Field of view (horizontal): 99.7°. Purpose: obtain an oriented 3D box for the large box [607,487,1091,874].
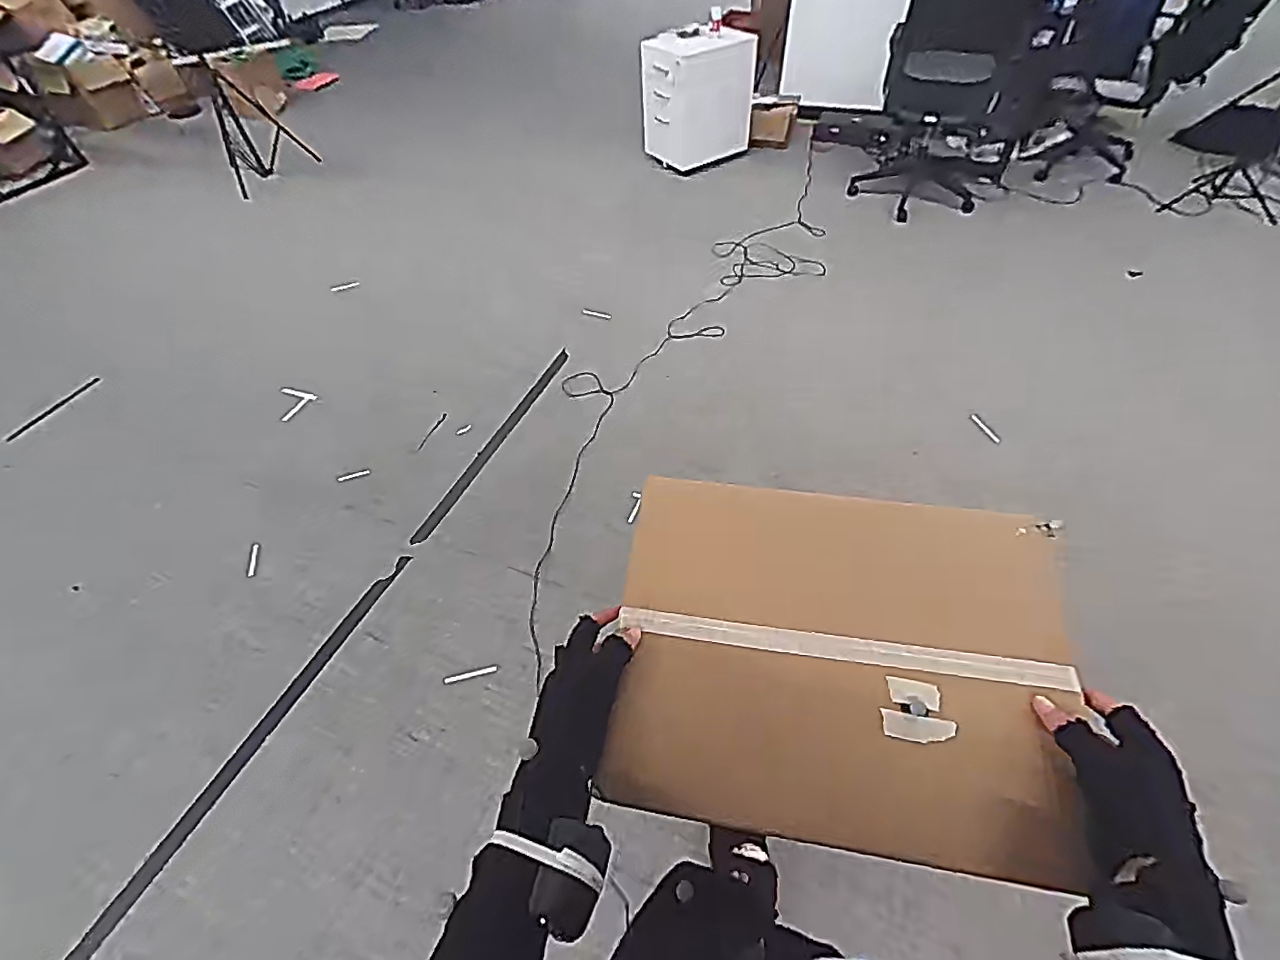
[{"bbox_3d":[0.196,0.227,0.651,0.408,0.320,0.320,6,65,9],"label":"large box"}]
